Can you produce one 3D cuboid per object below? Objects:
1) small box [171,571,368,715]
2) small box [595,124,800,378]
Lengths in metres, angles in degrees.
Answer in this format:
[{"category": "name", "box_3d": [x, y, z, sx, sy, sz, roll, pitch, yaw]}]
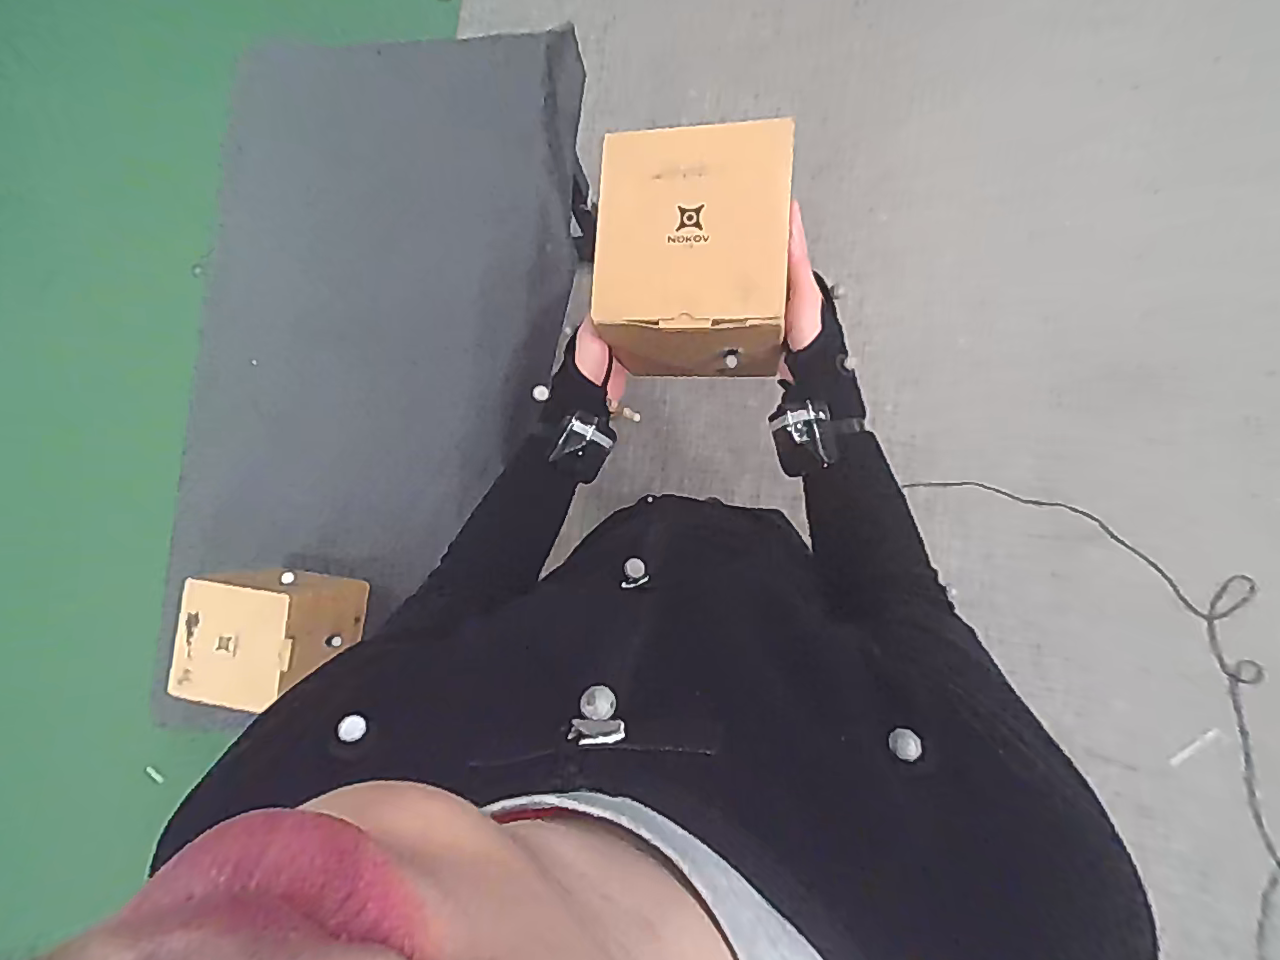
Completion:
[{"category": "small box", "box_3d": [-0.550, 0.235, 0.826, 0.179, 0.176, 0.168, 7, 86, 8]}, {"category": "small box", "box_3d": [0.062, -0.206, 0.535, 0.168, 0.176, 0.179, 3, 84, 10]}]
